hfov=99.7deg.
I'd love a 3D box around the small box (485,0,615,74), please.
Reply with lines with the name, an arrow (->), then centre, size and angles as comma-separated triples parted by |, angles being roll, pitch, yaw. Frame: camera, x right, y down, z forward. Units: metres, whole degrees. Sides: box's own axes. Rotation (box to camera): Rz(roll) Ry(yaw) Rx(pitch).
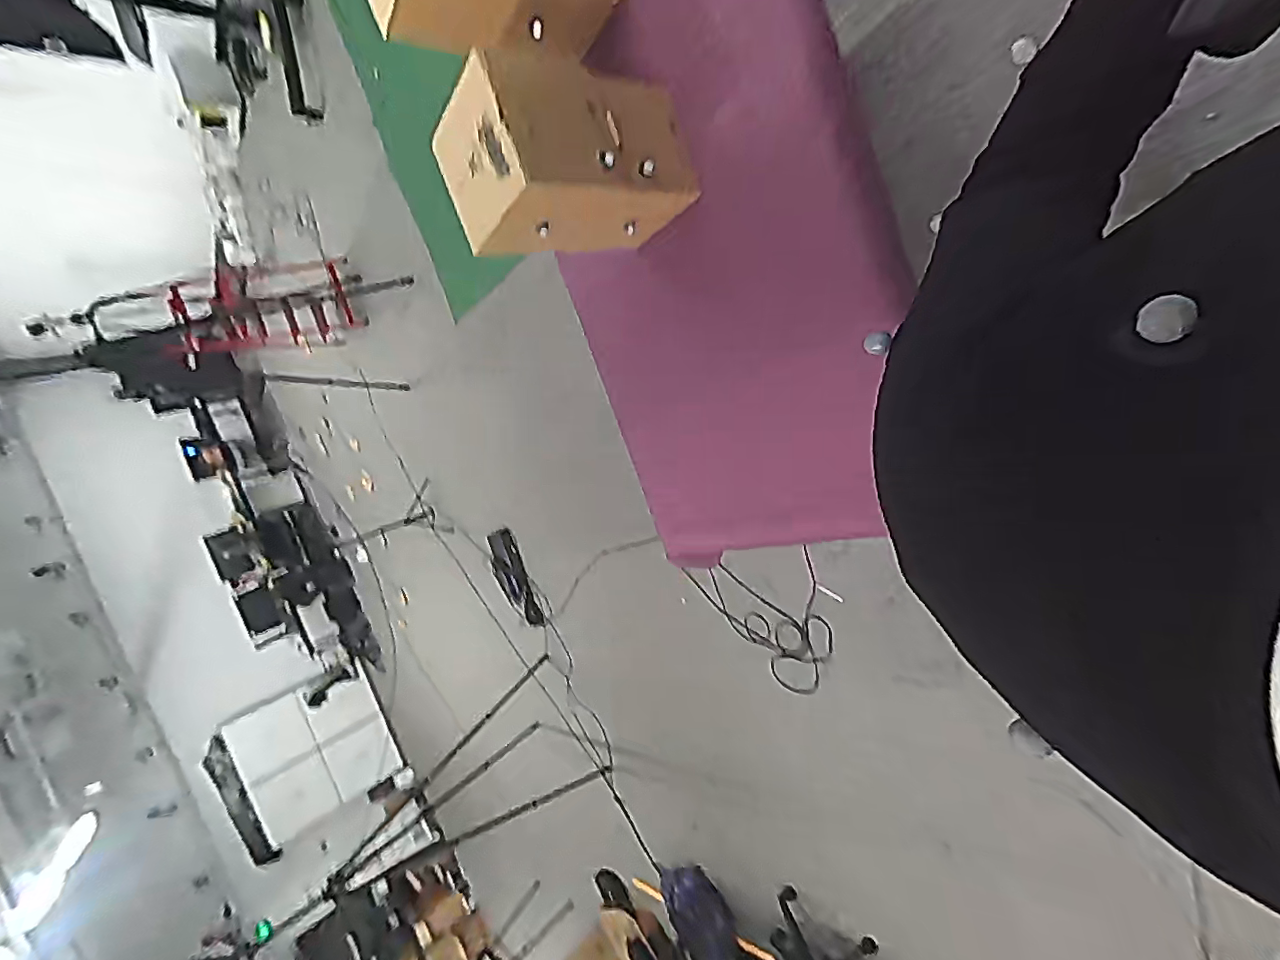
small box -> -0.163, -0.777, 0.838 | 0.179, 0.176, 0.168 | -22, 93, 50

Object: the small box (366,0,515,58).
small box -> -0.280, -0.726, 0.737 | 0.179, 0.176, 0.168 | -21, 93, 49

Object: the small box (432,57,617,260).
small box -> -0.152, -0.428, 0.746 | 0.179, 0.176, 0.168 | -17, 96, 51
